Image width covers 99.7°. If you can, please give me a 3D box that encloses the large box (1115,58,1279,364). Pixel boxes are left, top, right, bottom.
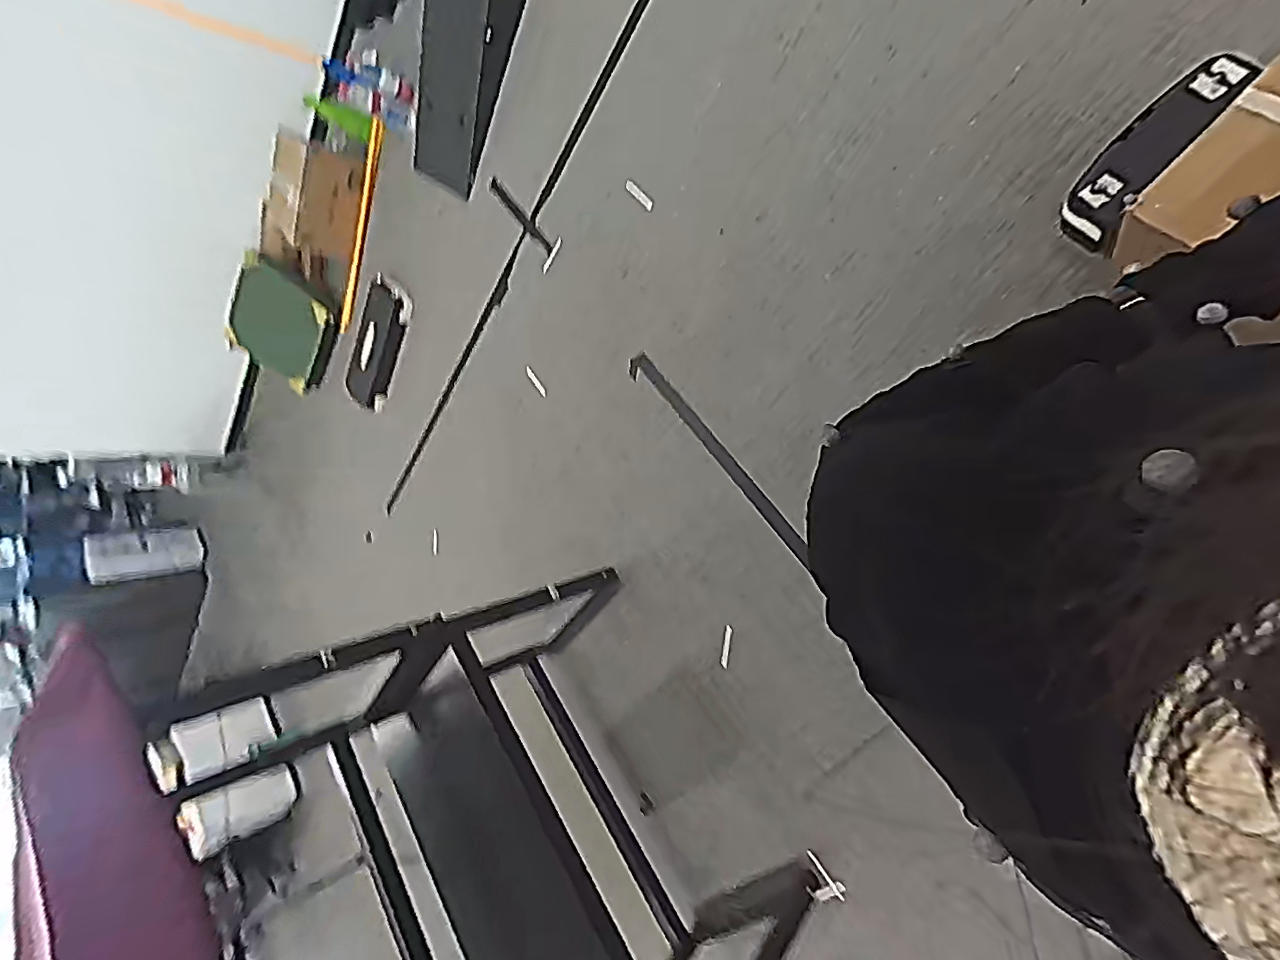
[{"bbox_3d":[0.966,-0.349,0.723,0.408,0.320,0.320,51,120,24],"label":"large box"}]
